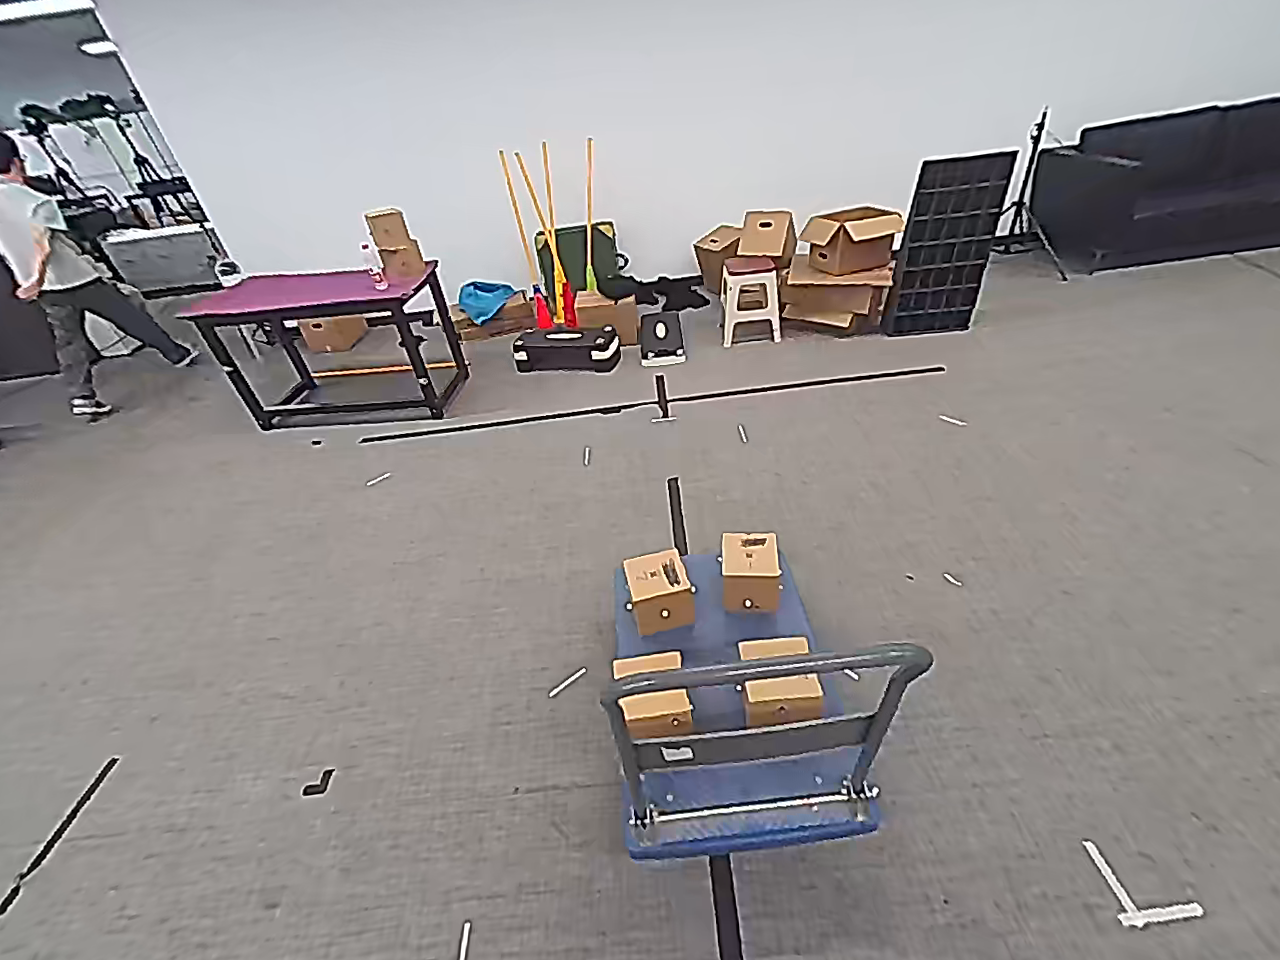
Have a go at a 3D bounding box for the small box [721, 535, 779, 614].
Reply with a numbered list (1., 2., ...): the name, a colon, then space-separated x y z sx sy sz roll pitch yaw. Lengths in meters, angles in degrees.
1. small box: 0.335 0.290 1.667 0.168 0.176 0.179 -1 39 9

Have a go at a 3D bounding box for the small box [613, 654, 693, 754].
1. small box: 0.032 0.569 1.367 0.179 0.176 0.168 -8 38 -2

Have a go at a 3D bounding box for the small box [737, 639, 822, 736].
1. small box: 0.345 0.526 1.363 0.179 0.176 0.168 -6 38 3
